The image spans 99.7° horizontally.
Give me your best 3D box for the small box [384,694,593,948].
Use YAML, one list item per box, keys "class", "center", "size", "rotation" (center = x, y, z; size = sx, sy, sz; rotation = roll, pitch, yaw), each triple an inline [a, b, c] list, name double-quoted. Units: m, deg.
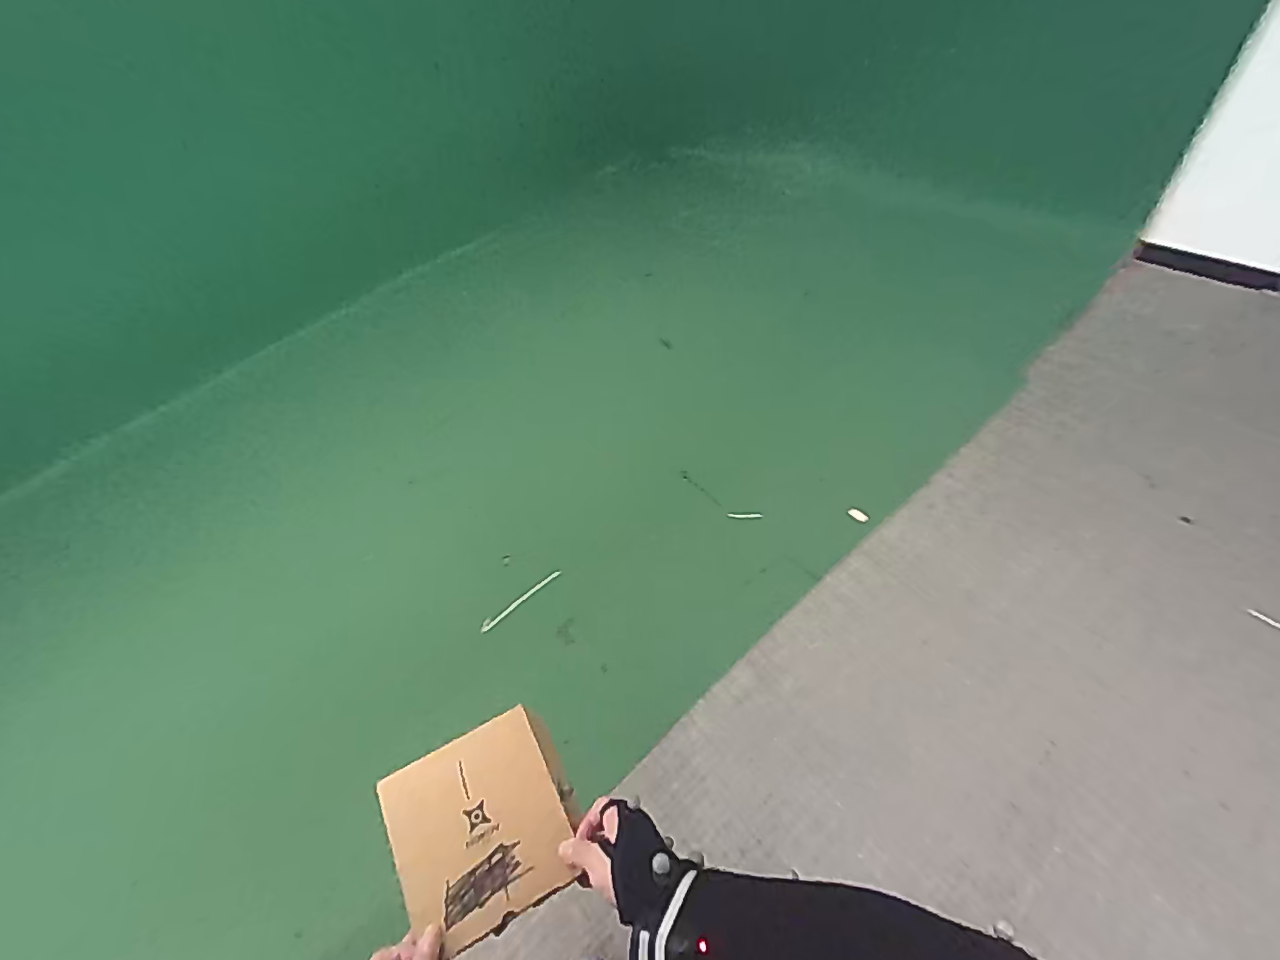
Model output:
- class: "small box"
  center: [-0.161, 0.372, 0.620]
  size: [0.168, 0.176, 0.179]
  rotation: [-23, 64, -13]
